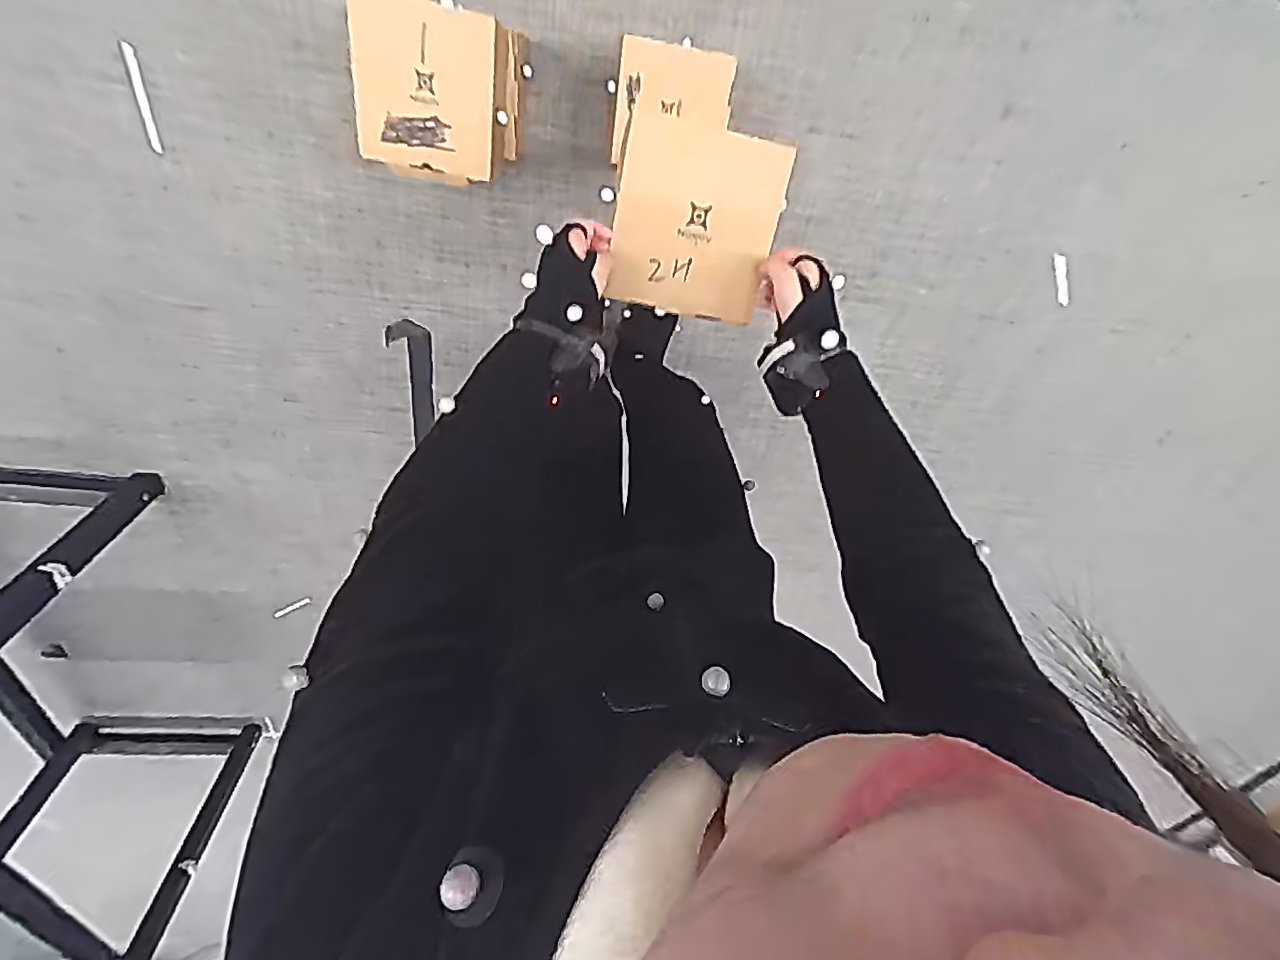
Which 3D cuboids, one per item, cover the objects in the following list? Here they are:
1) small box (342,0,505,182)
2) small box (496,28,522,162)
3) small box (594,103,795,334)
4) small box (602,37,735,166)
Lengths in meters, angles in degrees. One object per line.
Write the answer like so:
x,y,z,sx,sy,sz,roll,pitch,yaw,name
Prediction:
-0.275,-0.520,0.721,0.168,0.176,0.179,6,124,-11,small box
-0.281,-0.618,0.852,0.179,0.176,0.168,4,125,-9,small box
0.044,-0.280,0.605,0.168,0.176,0.179,10,113,-10,small box
0.036,-0.609,0.895,0.179,0.176,0.168,4,125,-10,small box
